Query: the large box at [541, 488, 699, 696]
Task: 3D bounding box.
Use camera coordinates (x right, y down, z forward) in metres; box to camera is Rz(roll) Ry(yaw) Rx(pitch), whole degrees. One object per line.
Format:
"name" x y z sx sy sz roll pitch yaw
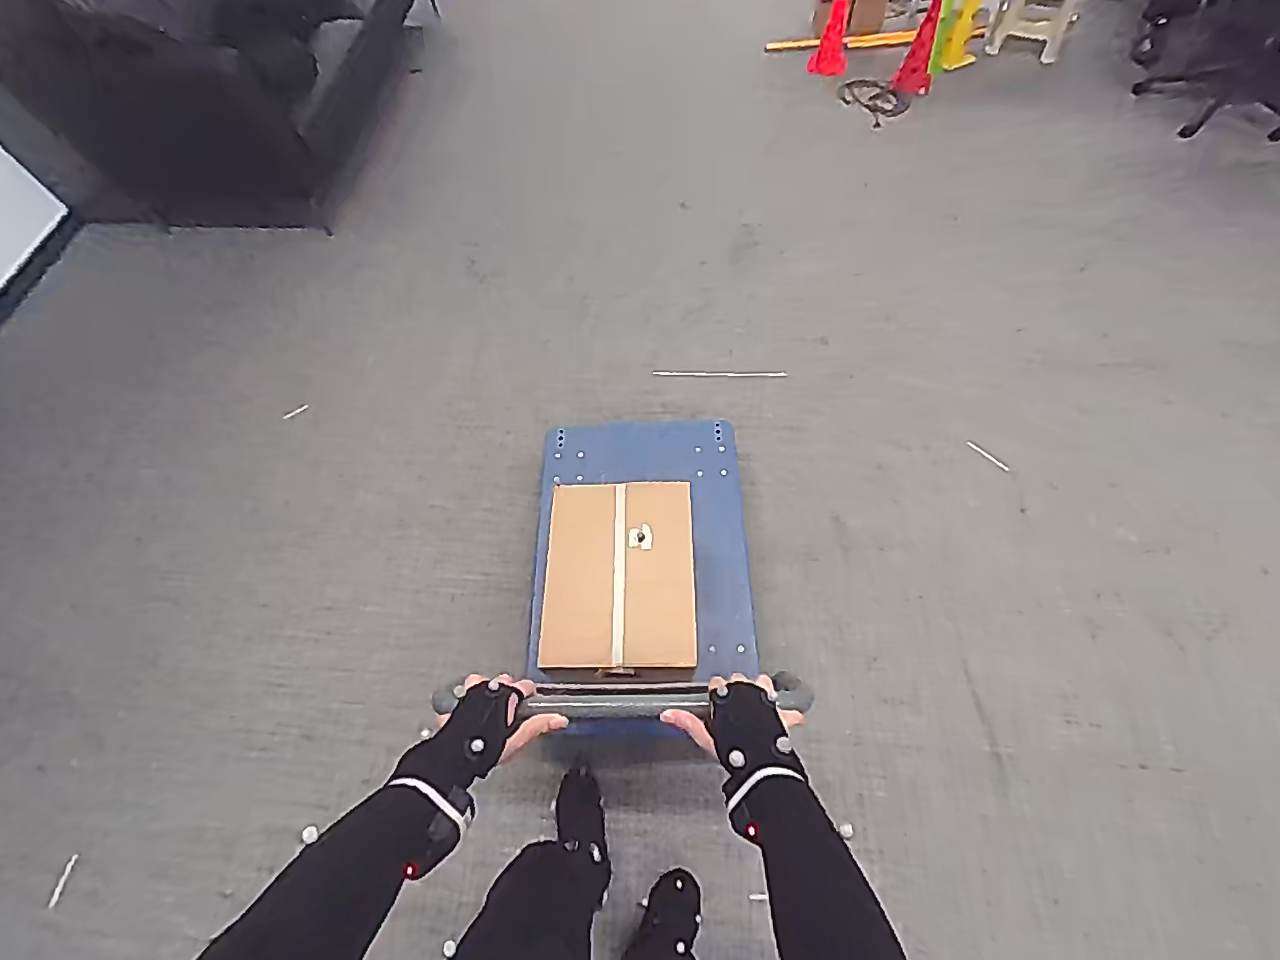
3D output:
"large box" -0.034 0.270 1.269 0.320 0.320 0.408 -1 60 2
